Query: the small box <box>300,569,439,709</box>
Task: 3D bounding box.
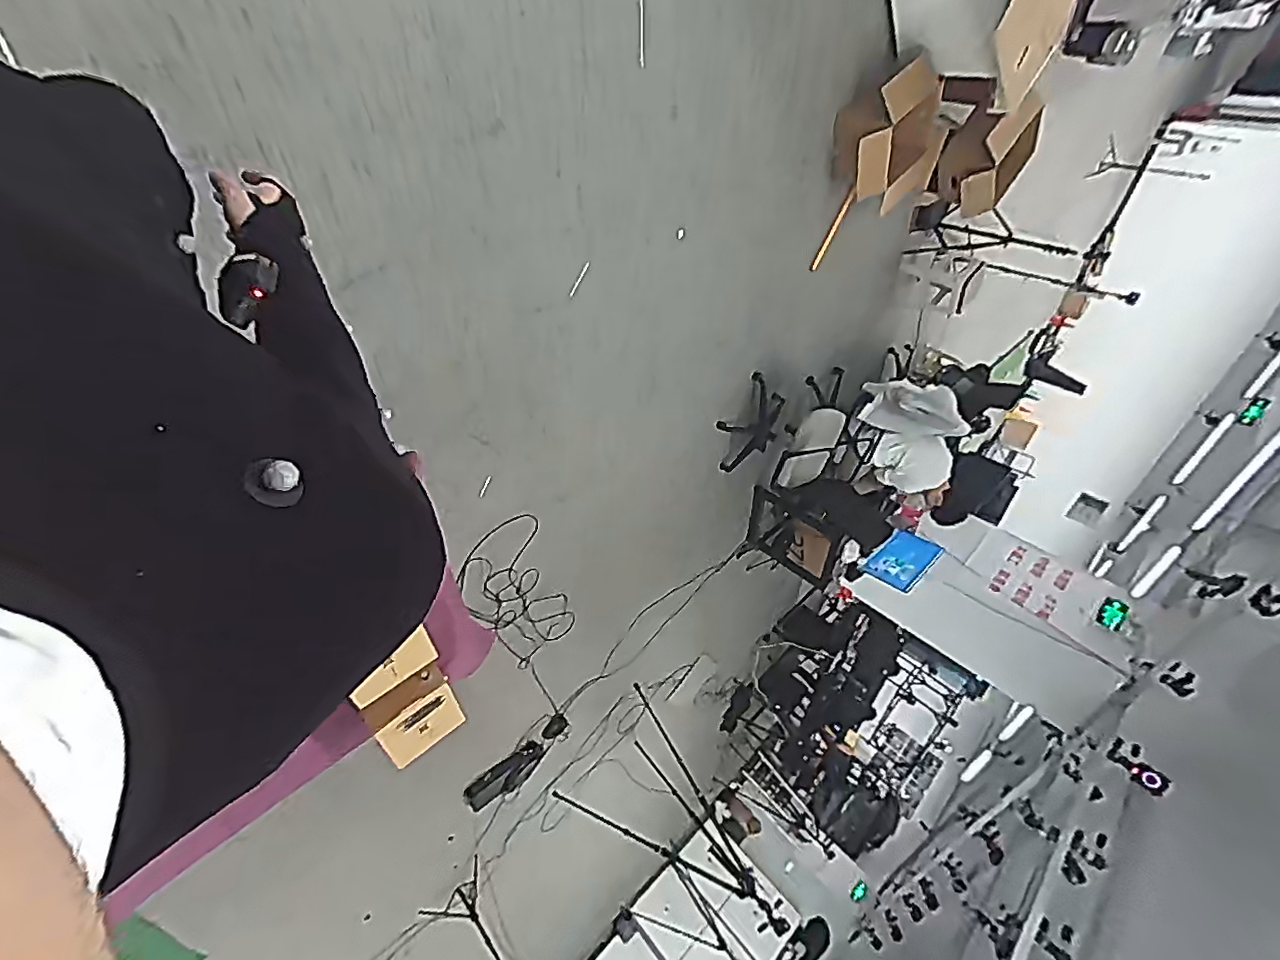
[{"bbox_3d":[-0.527,0.299,1.057,0.168,0.176,0.179,-32,141,-30],"label":"small box"}]
